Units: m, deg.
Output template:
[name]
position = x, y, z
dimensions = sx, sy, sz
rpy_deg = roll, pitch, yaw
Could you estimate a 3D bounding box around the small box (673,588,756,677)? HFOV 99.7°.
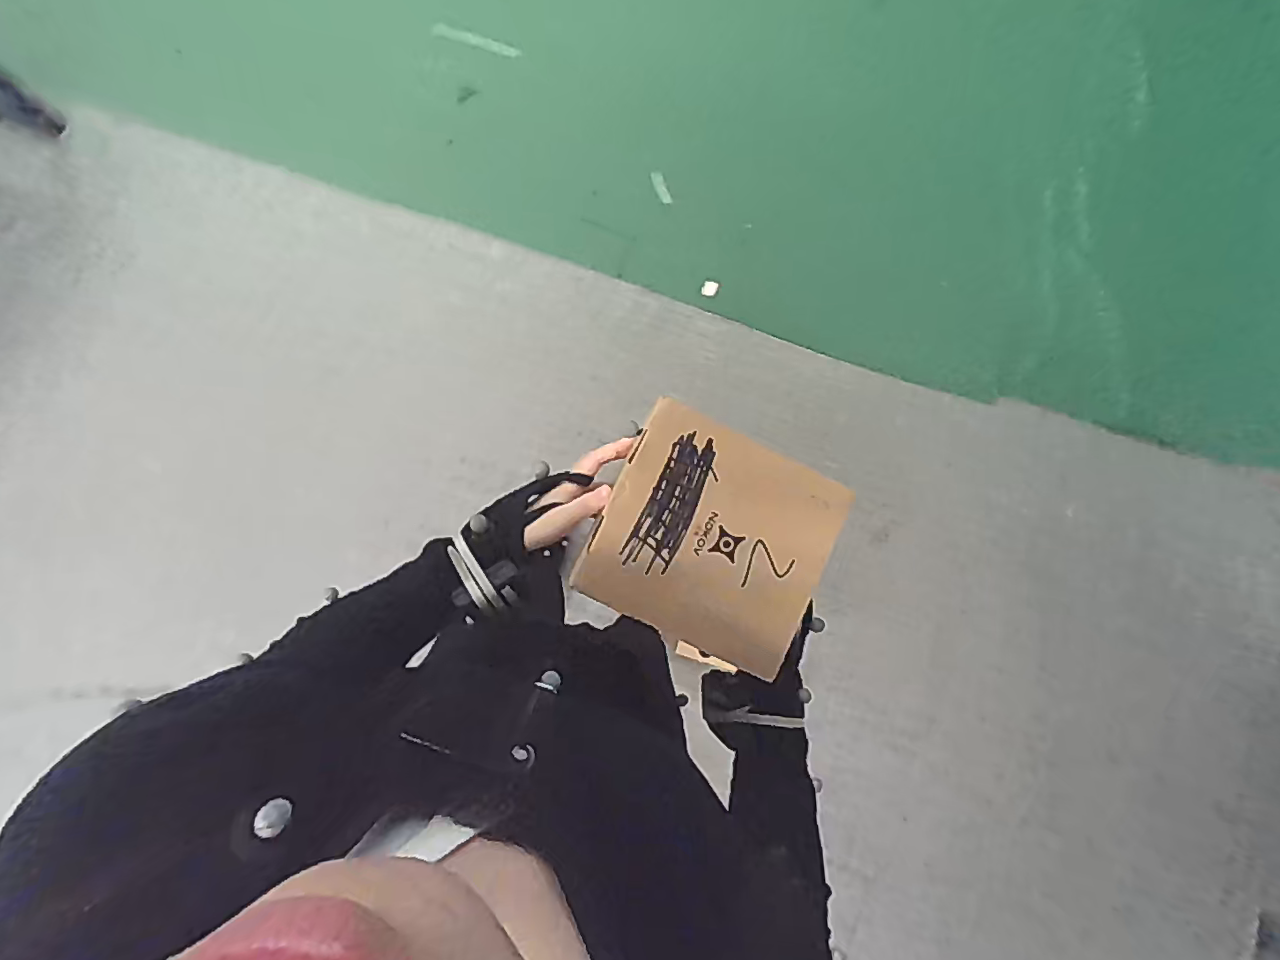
[small box]
position = 0.187, 0.388, 1.405
dimensions = 0.168, 0.176, 0.179
rpy_deg = 16, 80, 3
